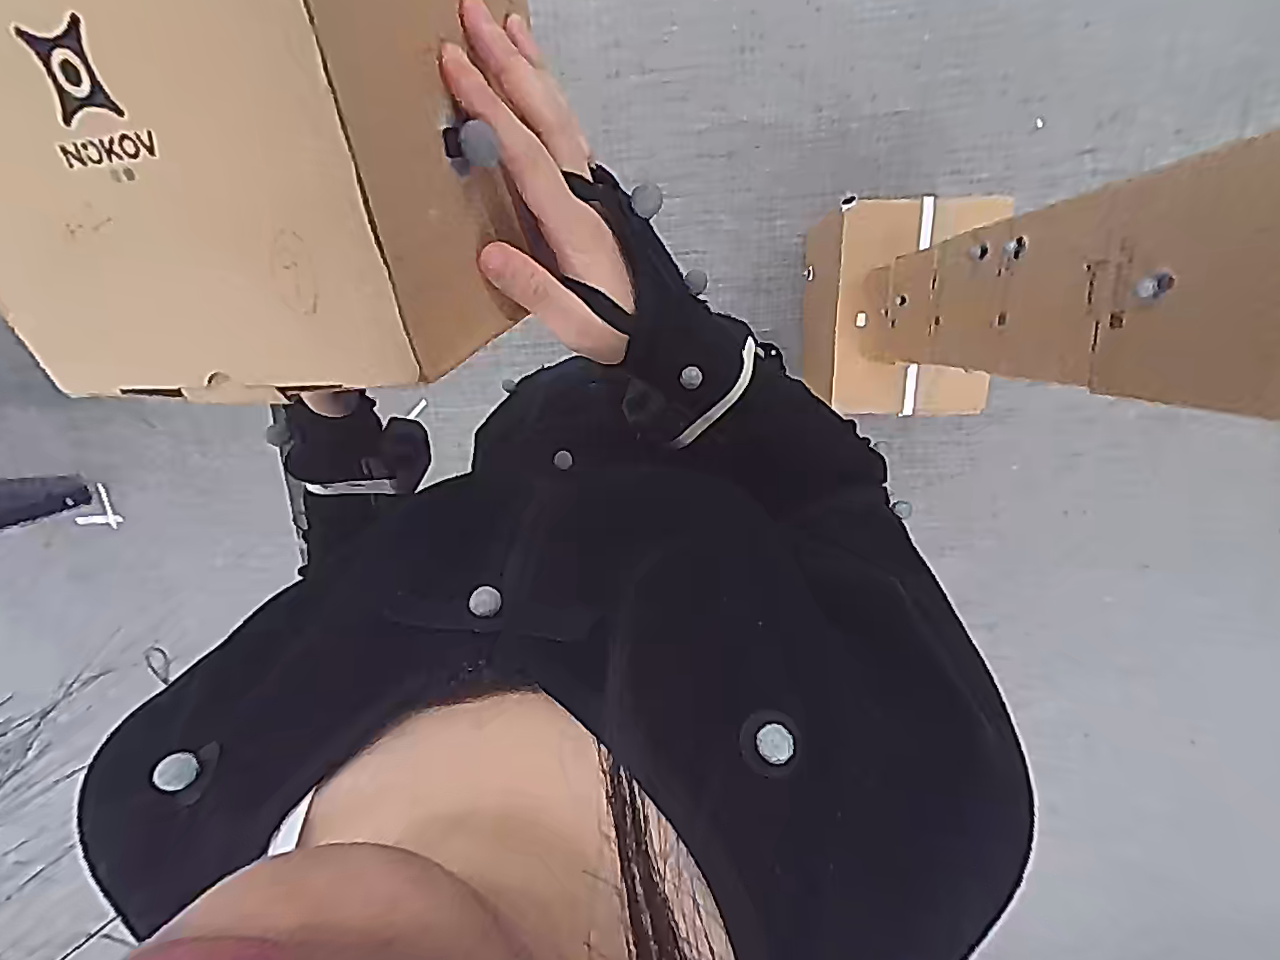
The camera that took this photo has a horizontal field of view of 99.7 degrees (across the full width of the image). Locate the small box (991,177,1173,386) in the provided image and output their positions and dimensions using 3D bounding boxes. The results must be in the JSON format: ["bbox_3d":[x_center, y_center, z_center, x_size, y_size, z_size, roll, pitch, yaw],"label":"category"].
[{"bbox_3d":[0.473,-0.176,0.514,0.179,0.176,0.168,1,105,4],"label":"small box"}]

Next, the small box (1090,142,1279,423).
[{"bbox_3d":[0.458,-0.133,0.356,0.179,0.176,0.168,-2,105,6],"label":"small box"}]

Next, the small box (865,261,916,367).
[{"bbox_3d":[0.522,-0.302,0.985,0.168,0.176,0.179,-2,106,6],"label":"small box"}]

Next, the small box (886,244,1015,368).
[{"bbox_3d":[0.502,-0.263,0.829,0.179,0.176,0.168,-1,105,6],"label":"small box"}]

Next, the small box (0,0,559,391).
[{"bbox_3d":[-0.145,-0.151,0.226,0.168,0.176,0.179,0,121,12],"label":"small box"}]
